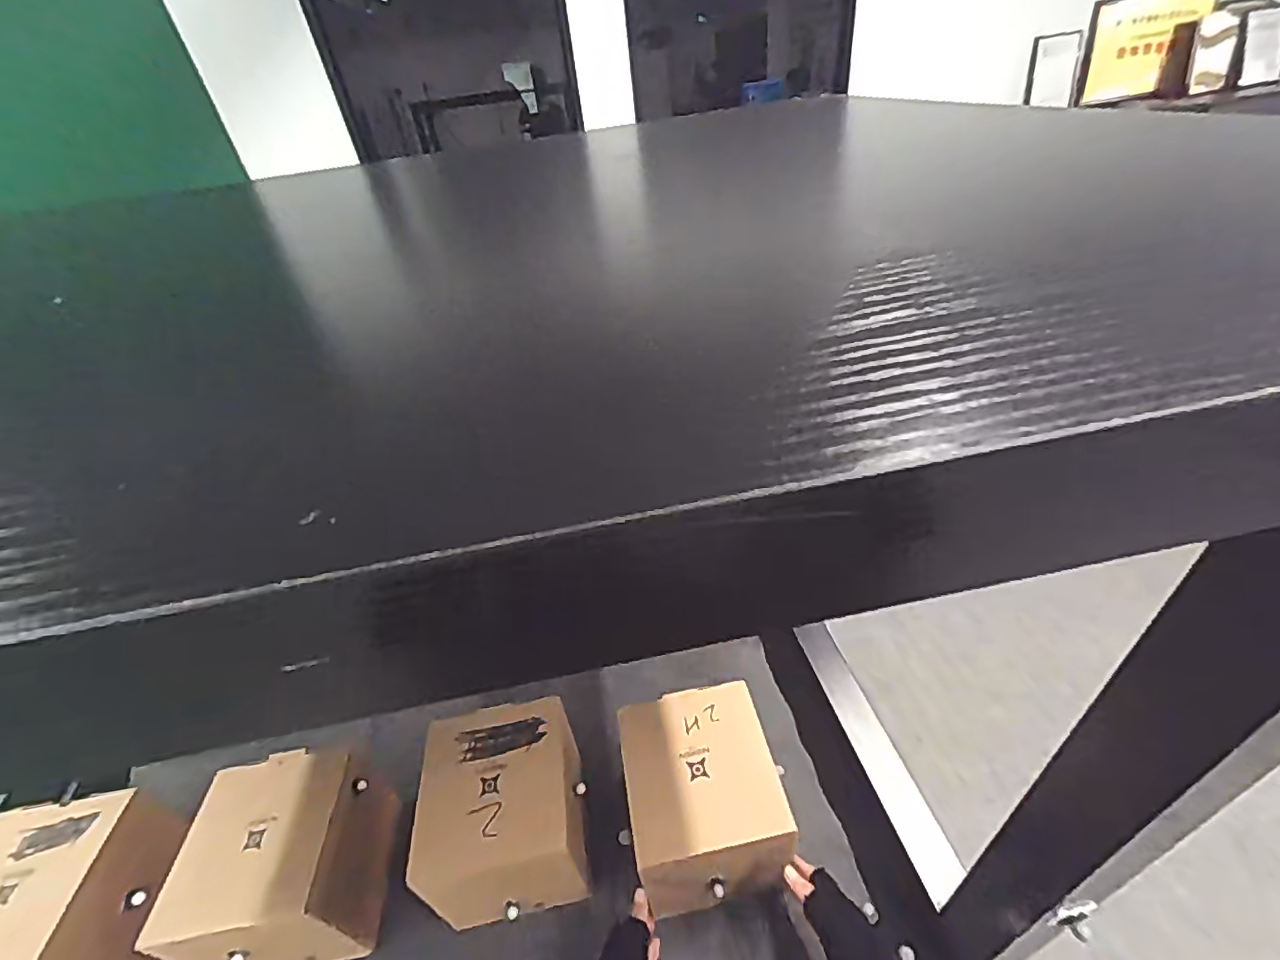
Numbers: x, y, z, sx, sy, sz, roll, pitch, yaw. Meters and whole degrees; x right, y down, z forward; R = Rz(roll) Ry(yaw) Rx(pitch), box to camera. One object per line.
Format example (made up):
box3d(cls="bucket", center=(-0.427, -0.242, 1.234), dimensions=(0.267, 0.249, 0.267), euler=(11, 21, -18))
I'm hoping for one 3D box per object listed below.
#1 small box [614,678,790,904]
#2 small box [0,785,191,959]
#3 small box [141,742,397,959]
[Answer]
box3d(cls="small box", center=(0.071, 0.377, 0.654), dimensions=(0.168, 0.176, 0.179), euler=(-11, 36, -4))
box3d(cls="small box", center=(-0.663, 0.496, 0.632), dimensions=(0.168, 0.176, 0.179), euler=(-10, 38, -3))
box3d(cls="small box", center=(-0.414, 0.453, 0.648), dimensions=(0.168, 0.176, 0.179), euler=(-10, 37, -3))
